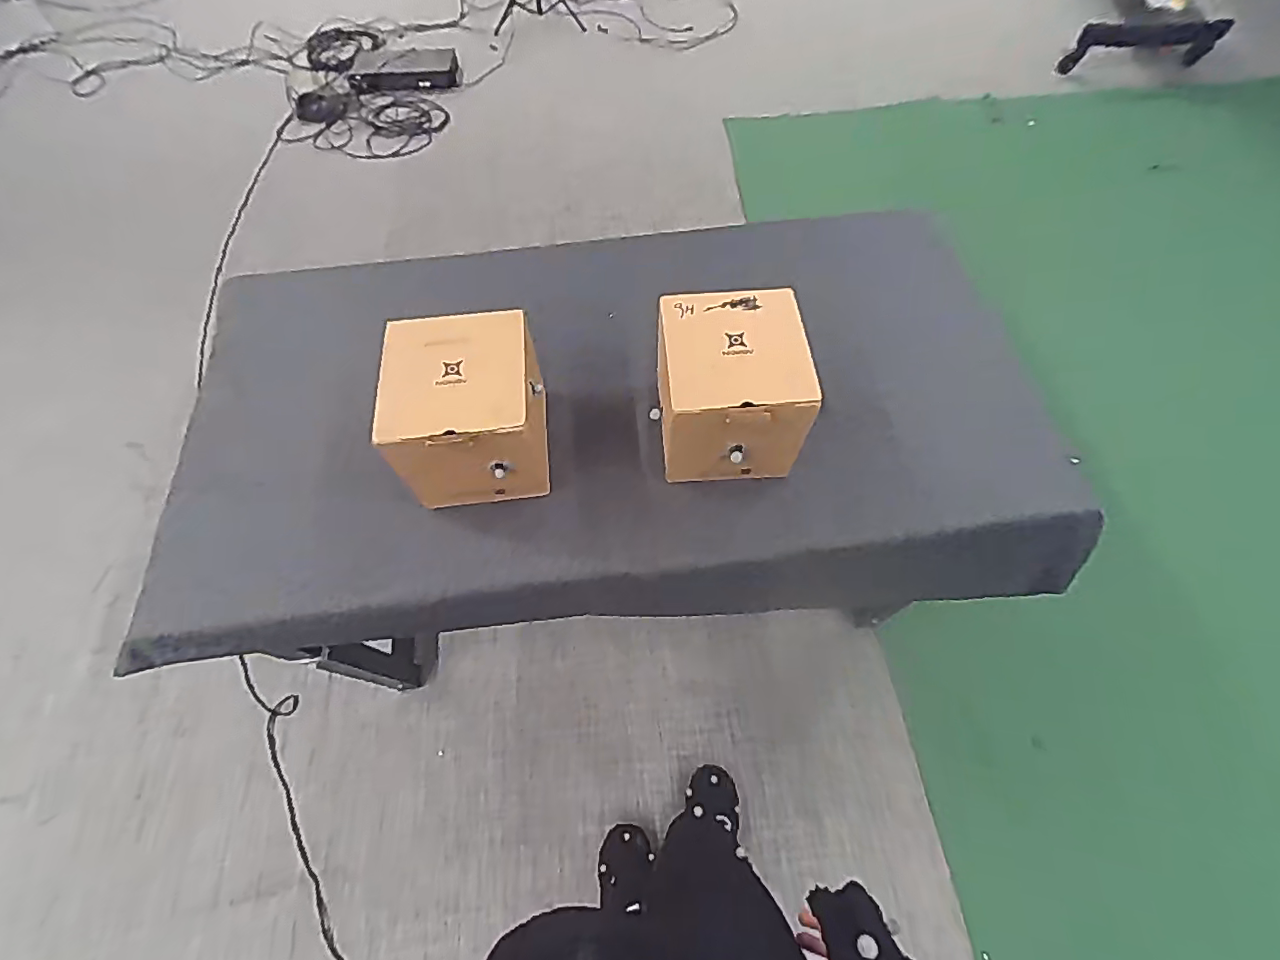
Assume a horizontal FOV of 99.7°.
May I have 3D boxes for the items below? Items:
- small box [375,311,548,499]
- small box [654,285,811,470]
[{"bbox_3d":[-0.216,-0.086,0.694,0.168,0.176,0.179,-7,62,-3],"label":"small box"},{"bbox_3d":[0.107,-0.121,0.700,0.168,0.176,0.179,-4,64,0],"label":"small box"}]
